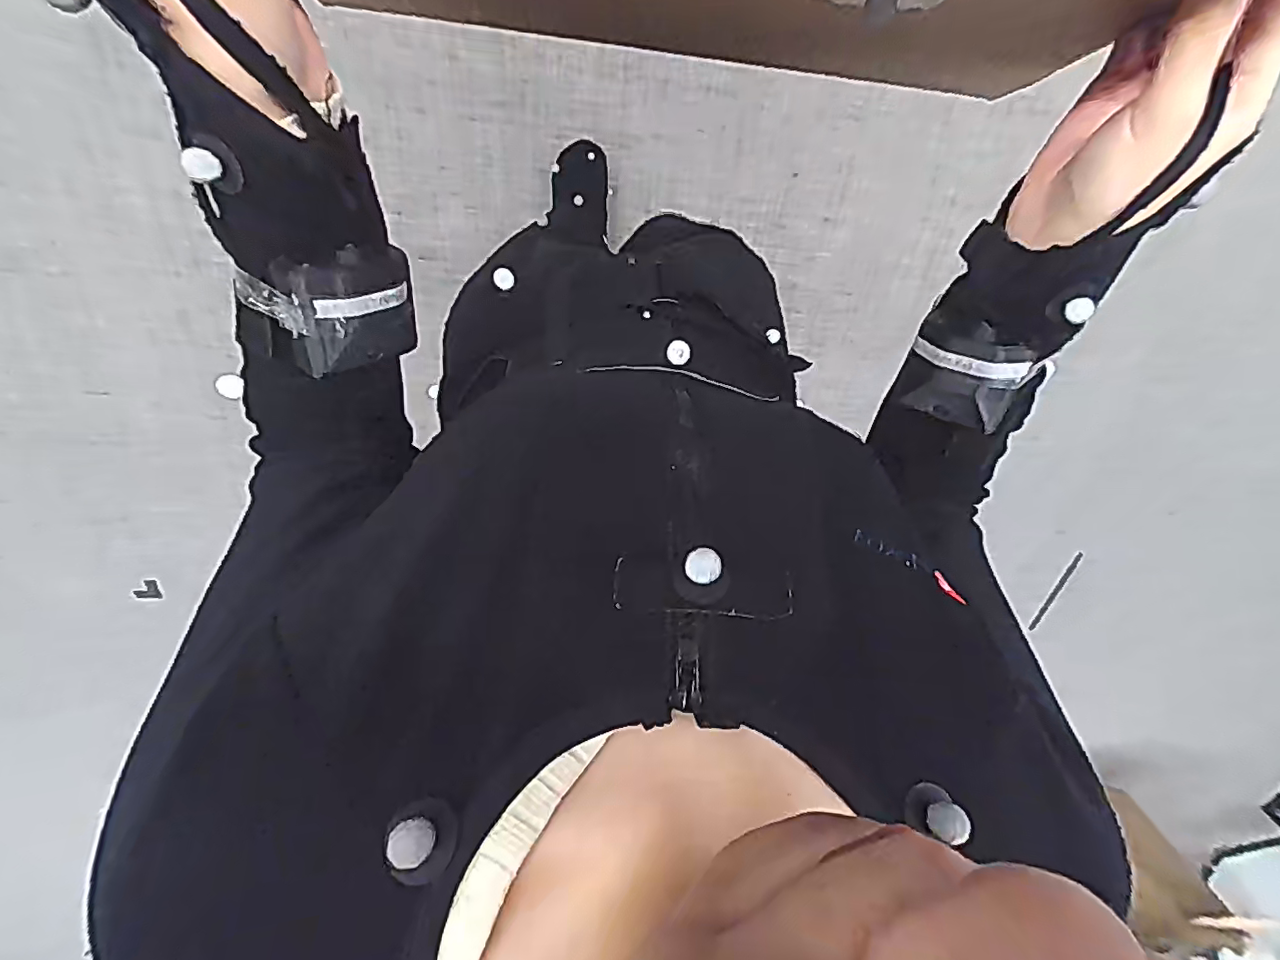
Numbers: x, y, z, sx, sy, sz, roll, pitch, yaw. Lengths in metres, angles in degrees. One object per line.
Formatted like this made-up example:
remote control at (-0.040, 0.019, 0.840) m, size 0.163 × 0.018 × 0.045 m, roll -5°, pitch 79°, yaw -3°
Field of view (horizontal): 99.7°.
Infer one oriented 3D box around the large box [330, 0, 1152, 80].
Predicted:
large box at (0.047, -0.355, 0.131) m, size 0.408 × 0.320 × 0.320 m, roll 1°, pitch 109°, yaw -7°
